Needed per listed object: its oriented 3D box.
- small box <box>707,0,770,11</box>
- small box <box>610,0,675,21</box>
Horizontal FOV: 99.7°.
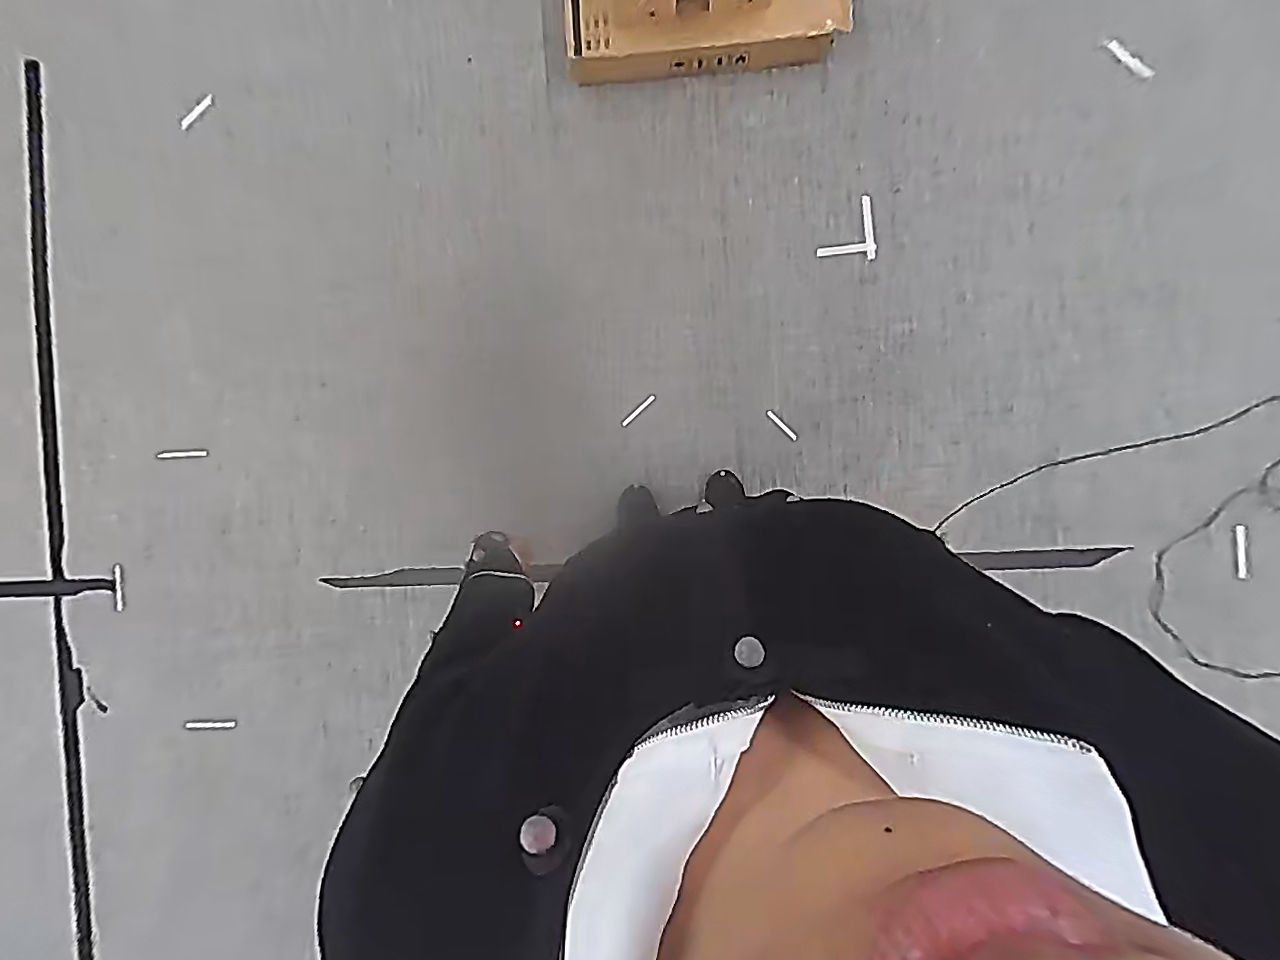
[{"bbox_3d":[0.244,-1.301,1.312,0.168,0.176,0.179,-4,89,4],"label":"small box"},{"bbox_3d":[-0.002,-1.277,1.327,0.168,0.176,0.179,-6,90,4],"label":"small box"}]
